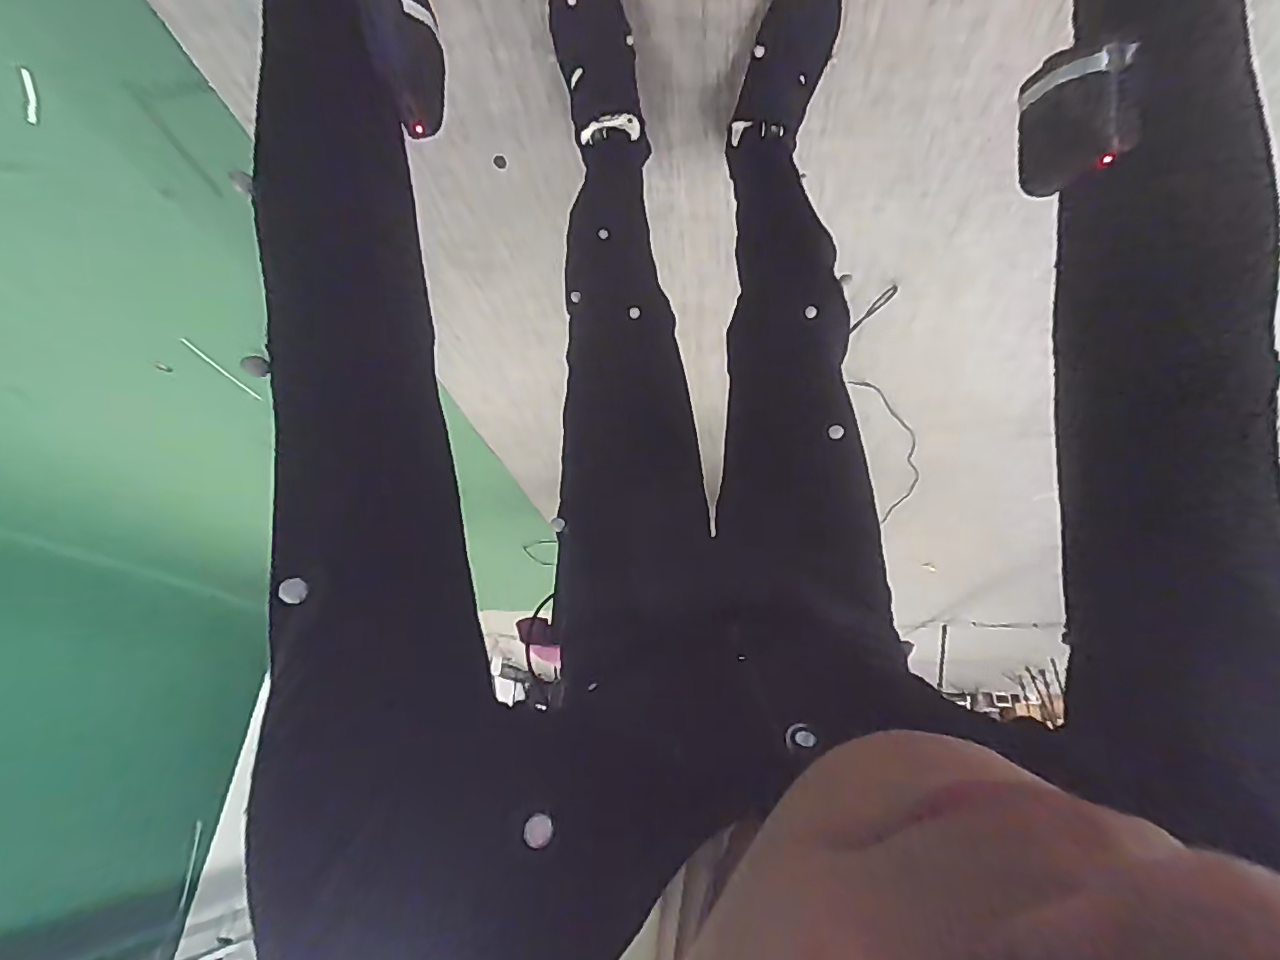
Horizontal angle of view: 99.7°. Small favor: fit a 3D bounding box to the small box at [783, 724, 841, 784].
[{"bbox_3d":[0.584,0.933,1.850,0.168,0.176,0.179,-1,153,10],"label":"small box"}]
